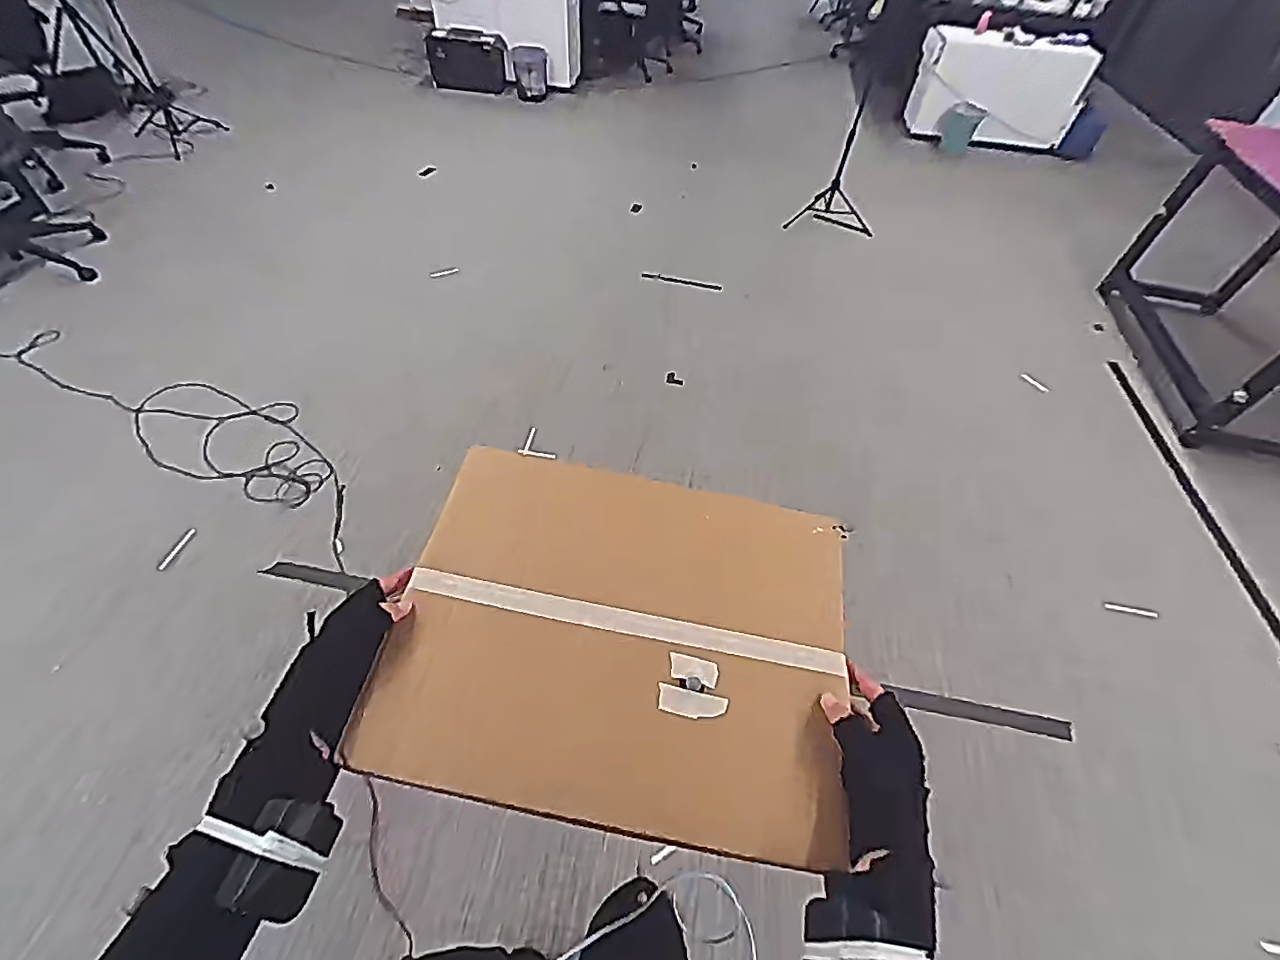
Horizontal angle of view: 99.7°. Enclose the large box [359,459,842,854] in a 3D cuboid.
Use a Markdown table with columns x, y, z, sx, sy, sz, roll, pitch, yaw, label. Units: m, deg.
| x | y | z | sx | sy | sz | roll | pitch | yaw | label |
| --- | --- | --- | --- | --- | --- | --- | --- | --- | --- |
| -0.025 | 0.216 | 0.636 | 0.408 | 0.320 | 0.320 | 12 | 57 | 1 | large box |
